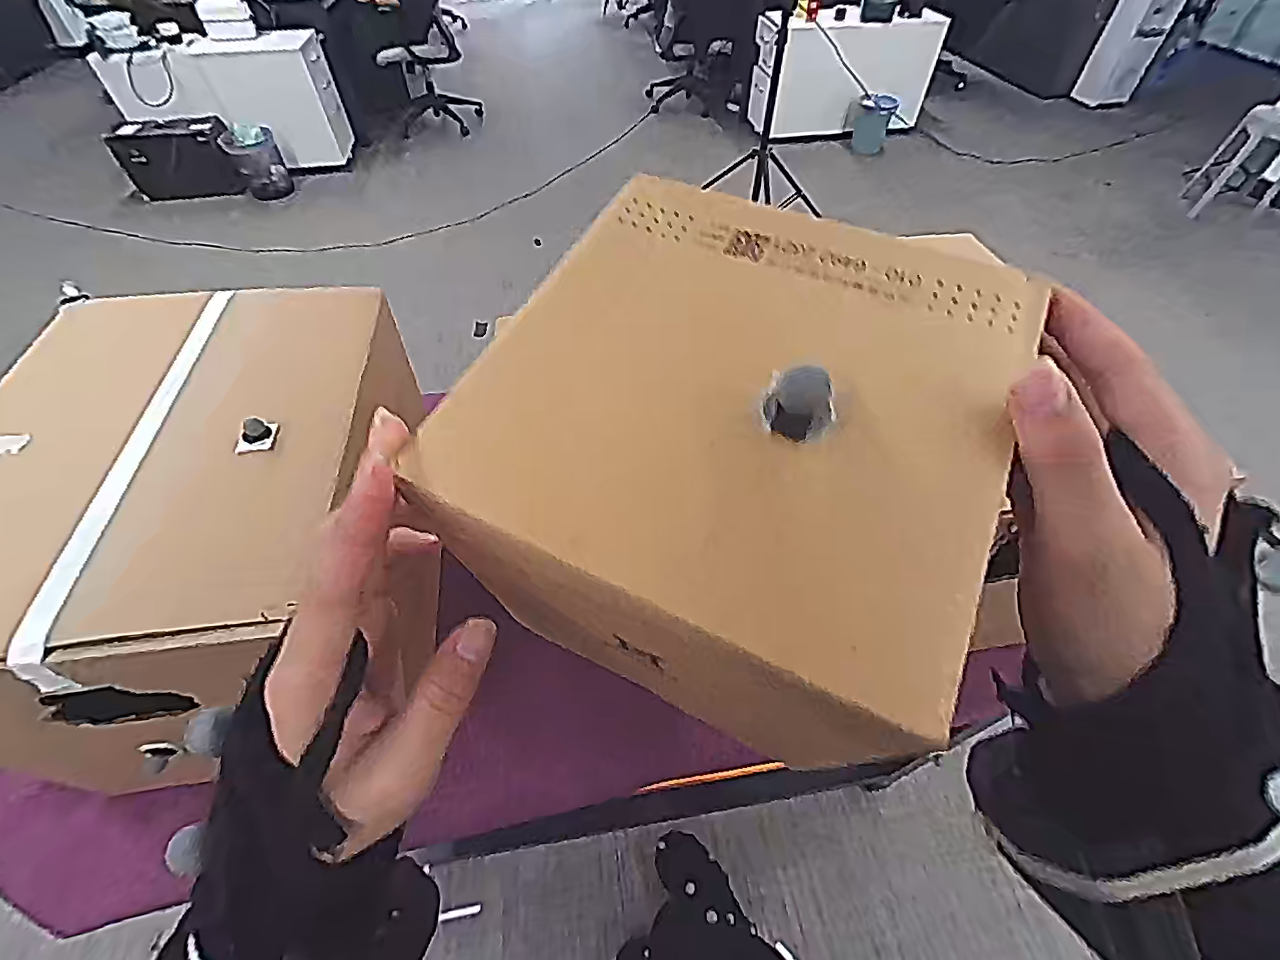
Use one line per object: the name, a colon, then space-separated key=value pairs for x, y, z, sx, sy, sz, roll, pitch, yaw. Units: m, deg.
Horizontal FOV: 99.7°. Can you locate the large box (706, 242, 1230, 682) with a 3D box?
large box: x=0.285 y=-0.032 z=0.647 sx=0.320 sy=0.320 sz=0.408 roll=-7 pitch=49 yaw=-7
